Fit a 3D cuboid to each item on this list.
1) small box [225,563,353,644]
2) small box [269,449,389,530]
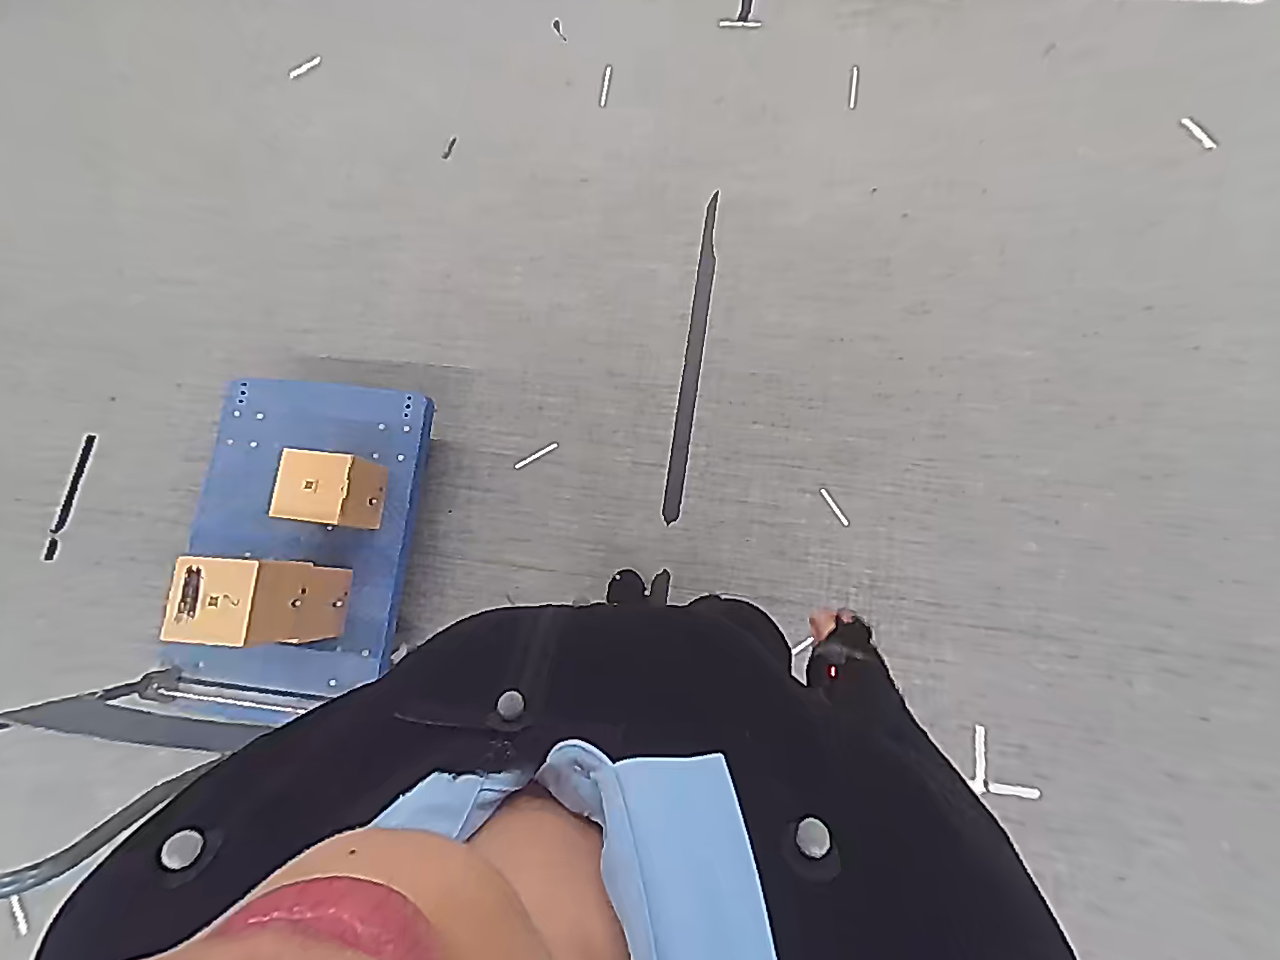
[{"bbox_3d":[-0.826,0.289,1.288,0.179,0.176,0.168,4,81,5],"label":"small box"},{"bbox_3d":[-0.756,0.029,1.331,0.179,0.176,0.168,5,80,5],"label":"small box"}]
